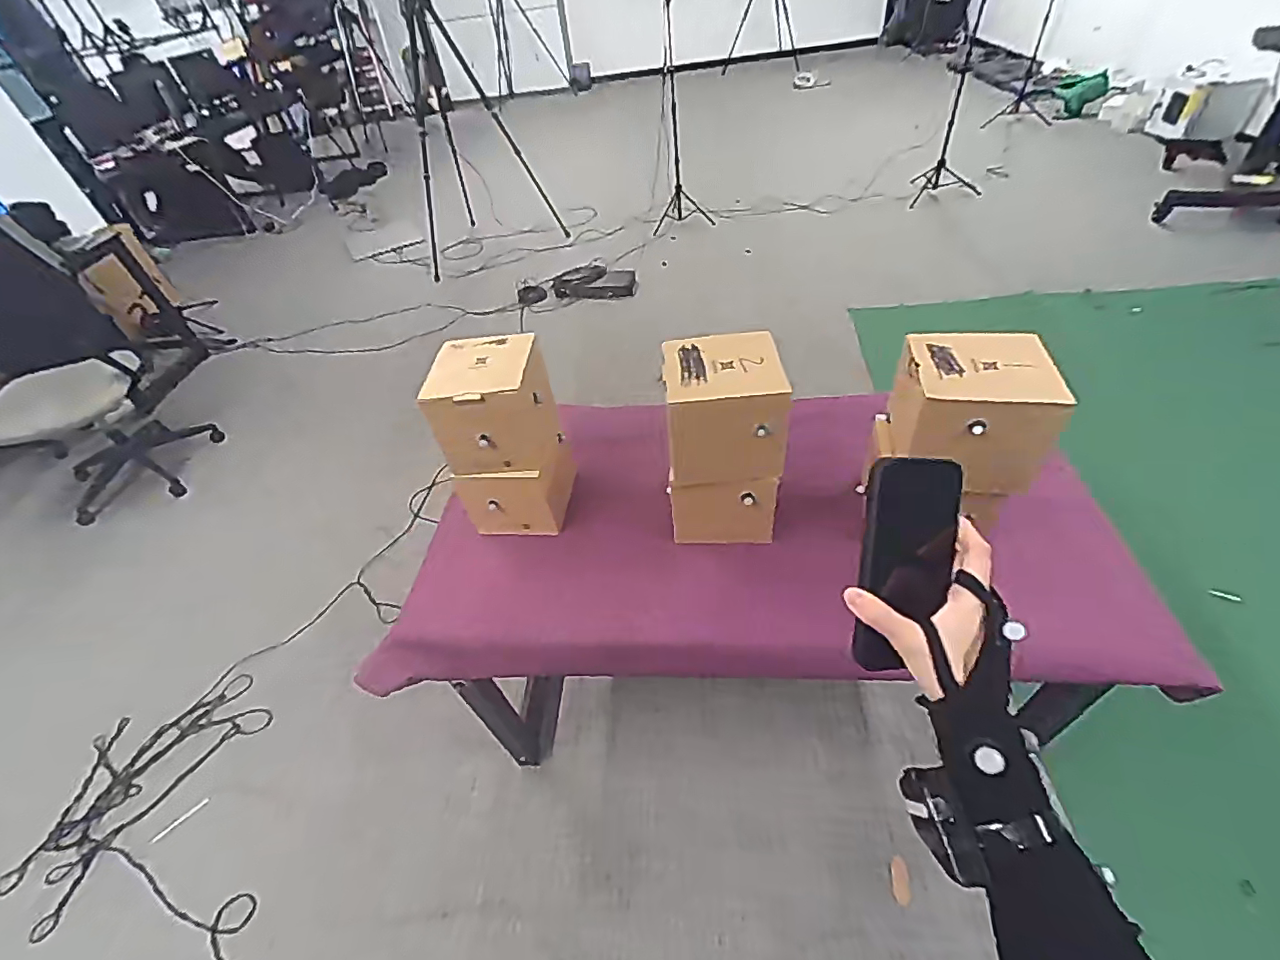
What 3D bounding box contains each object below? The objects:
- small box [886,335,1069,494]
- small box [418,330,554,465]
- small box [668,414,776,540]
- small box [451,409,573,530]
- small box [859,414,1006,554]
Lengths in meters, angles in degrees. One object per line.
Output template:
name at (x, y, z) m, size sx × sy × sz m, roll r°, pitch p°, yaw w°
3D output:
small box at (0.472, -0.095, 0.793) m, size 0.179 × 0.176 × 0.168 m, roll 5°, pitch 46°, yaw 12°
small box at (-0.253, -0.138, 0.944) m, size 0.168 × 0.176 × 0.179 m, roll -3°, pitch 46°, yaw 5°
small box at (0.147, -0.003, 0.981) m, size 0.179 × 0.176 × 0.168 m, roll 0°, pitch 46°, yaw 9°
small box at (-0.237, -0.018, 1.055) m, size 0.168 × 0.176 × 0.179 m, roll 1°, pitch 46°, yaw 9°
small box at (0.482, 0.008, 0.921) m, size 0.179 × 0.176 × 0.168 m, roll 4°, pitch 46°, yaw 14°
